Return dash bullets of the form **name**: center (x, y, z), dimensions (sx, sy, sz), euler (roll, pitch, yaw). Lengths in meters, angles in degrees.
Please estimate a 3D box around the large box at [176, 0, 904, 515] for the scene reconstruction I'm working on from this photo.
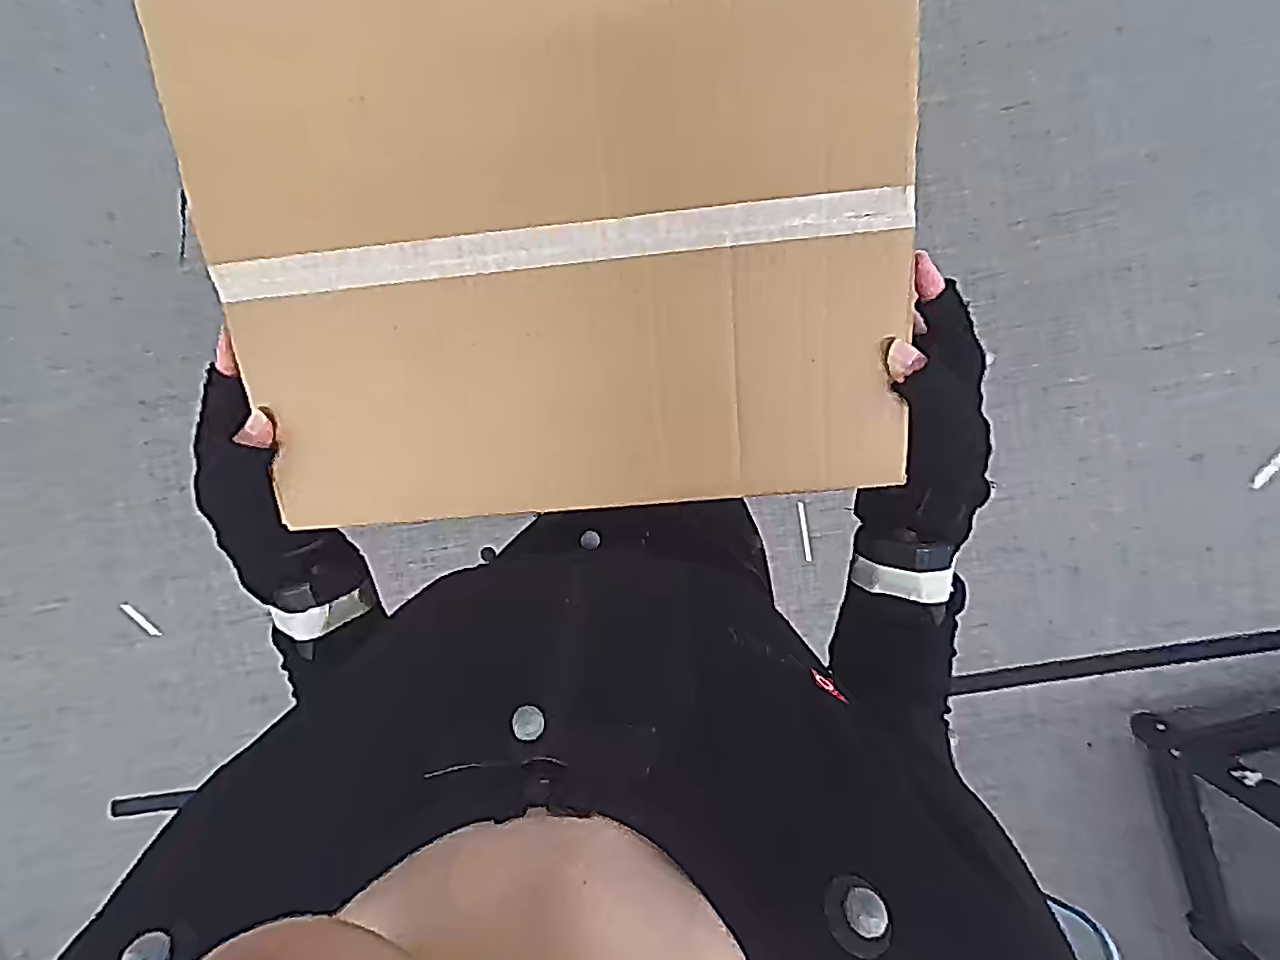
- **large box**: center (-0.043, -0.177, 0.466), dimensions (0.408, 0.320, 0.320), euler (-5, 105, 4)
